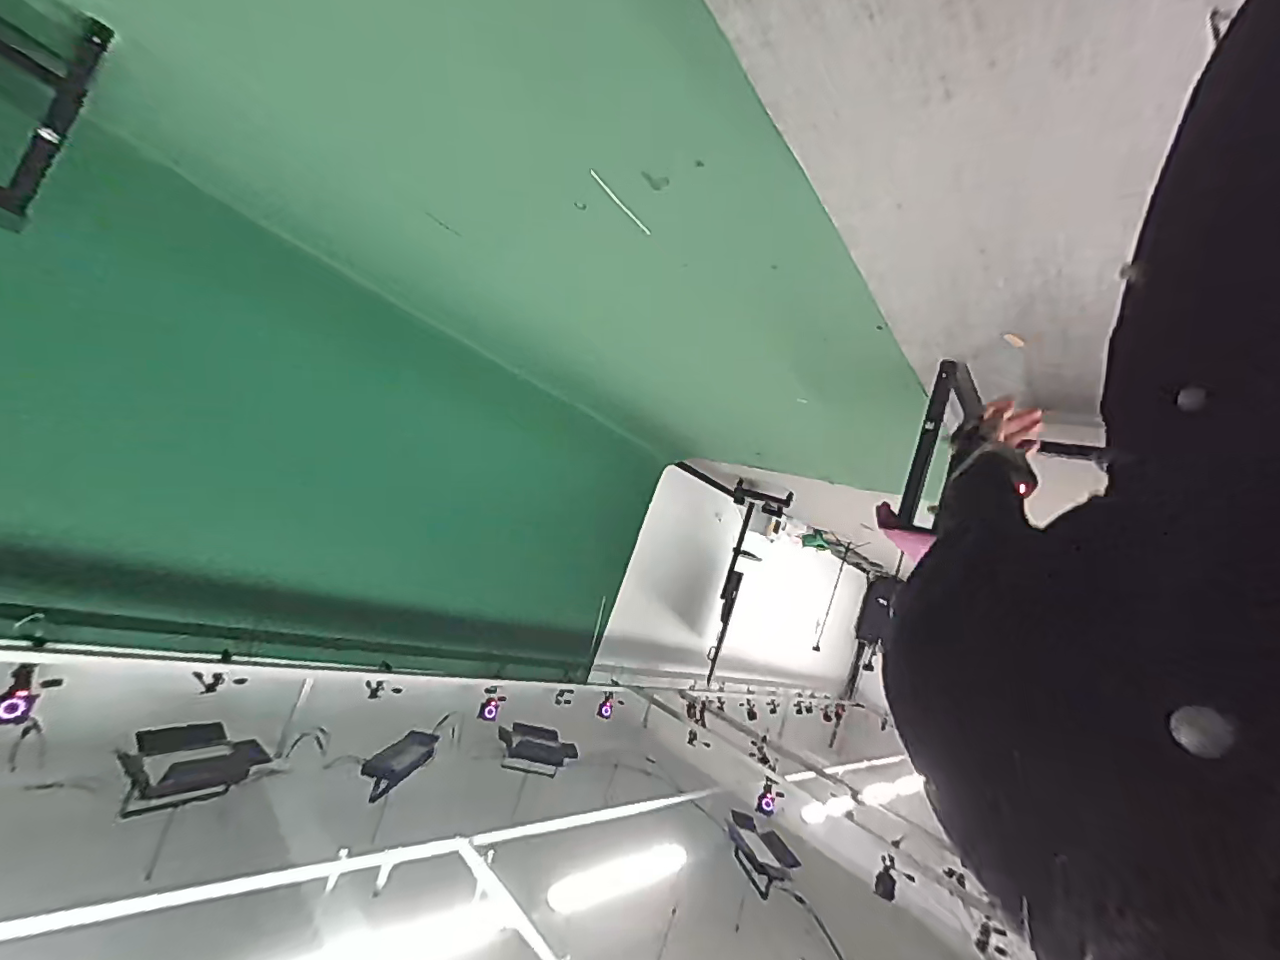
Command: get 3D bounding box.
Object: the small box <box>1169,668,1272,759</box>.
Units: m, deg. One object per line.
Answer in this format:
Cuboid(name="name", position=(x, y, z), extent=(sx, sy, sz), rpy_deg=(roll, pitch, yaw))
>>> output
Cuboid(name="small box", position=(1.555, 0.620, 1.454), extent=(0.168, 0.176, 0.179), rpy_deg=(12, 171, 46))
